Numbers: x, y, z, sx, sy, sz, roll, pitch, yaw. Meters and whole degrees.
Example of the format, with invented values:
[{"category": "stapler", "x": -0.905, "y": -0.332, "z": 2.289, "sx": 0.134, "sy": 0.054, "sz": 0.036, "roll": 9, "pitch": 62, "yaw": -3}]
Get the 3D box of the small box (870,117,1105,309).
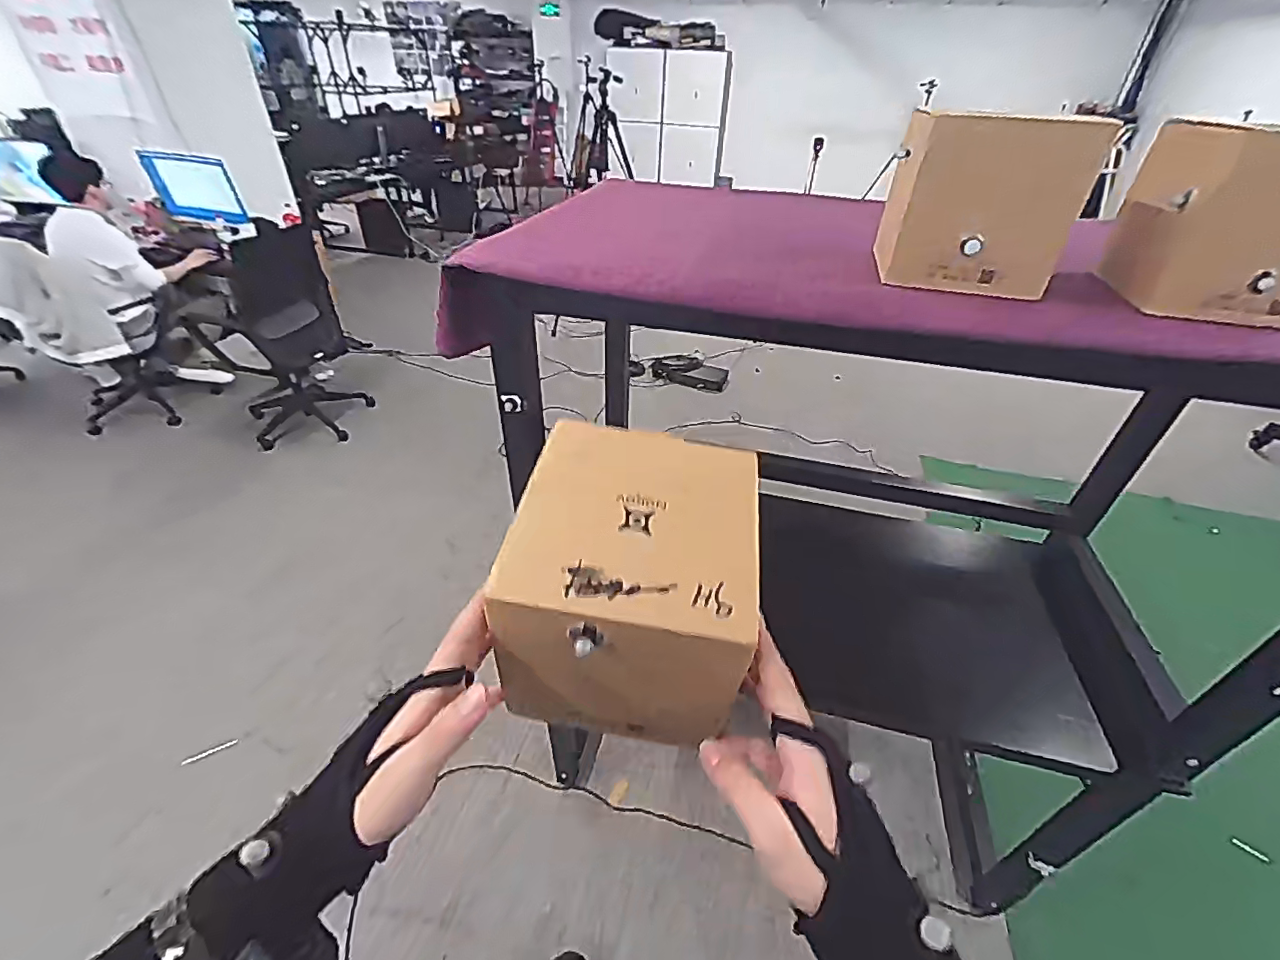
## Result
[{"category": "small box", "x": 0.382, "y": -0.320, "z": 0.640, "sx": 0.168, "sy": 0.176, "sz": 0.179, "roll": 11, "pitch": 38, "yaw": 11}]
